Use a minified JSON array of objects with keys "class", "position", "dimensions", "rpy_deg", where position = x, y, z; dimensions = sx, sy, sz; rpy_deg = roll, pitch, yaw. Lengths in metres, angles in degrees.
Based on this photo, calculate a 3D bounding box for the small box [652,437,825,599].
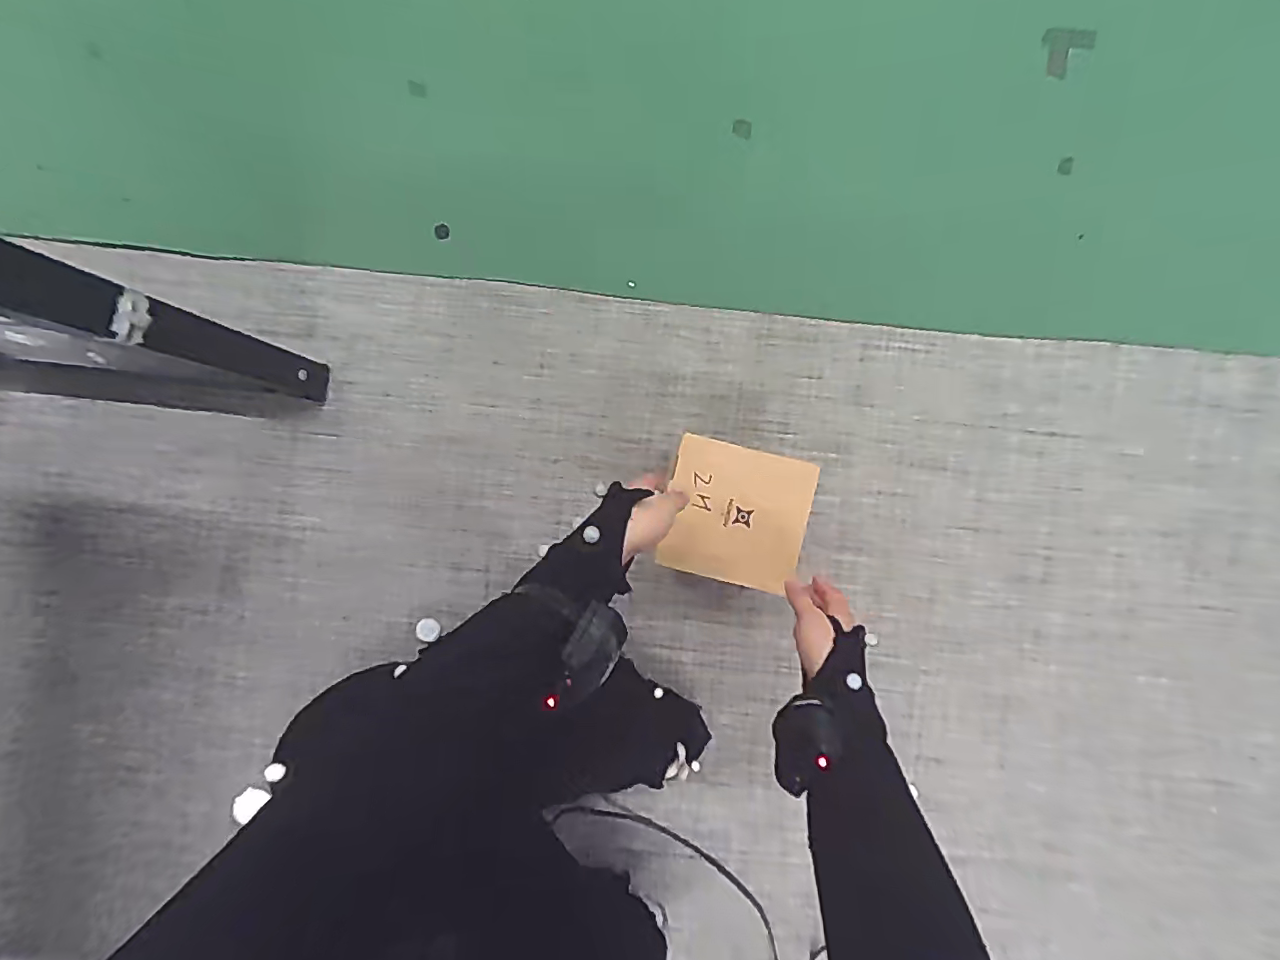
[{"class":"small box","position":[0.120,0.046,0.731],"dimensions":[0.179,0.176,0.168],"rpy_deg":[14,89,0]}]
